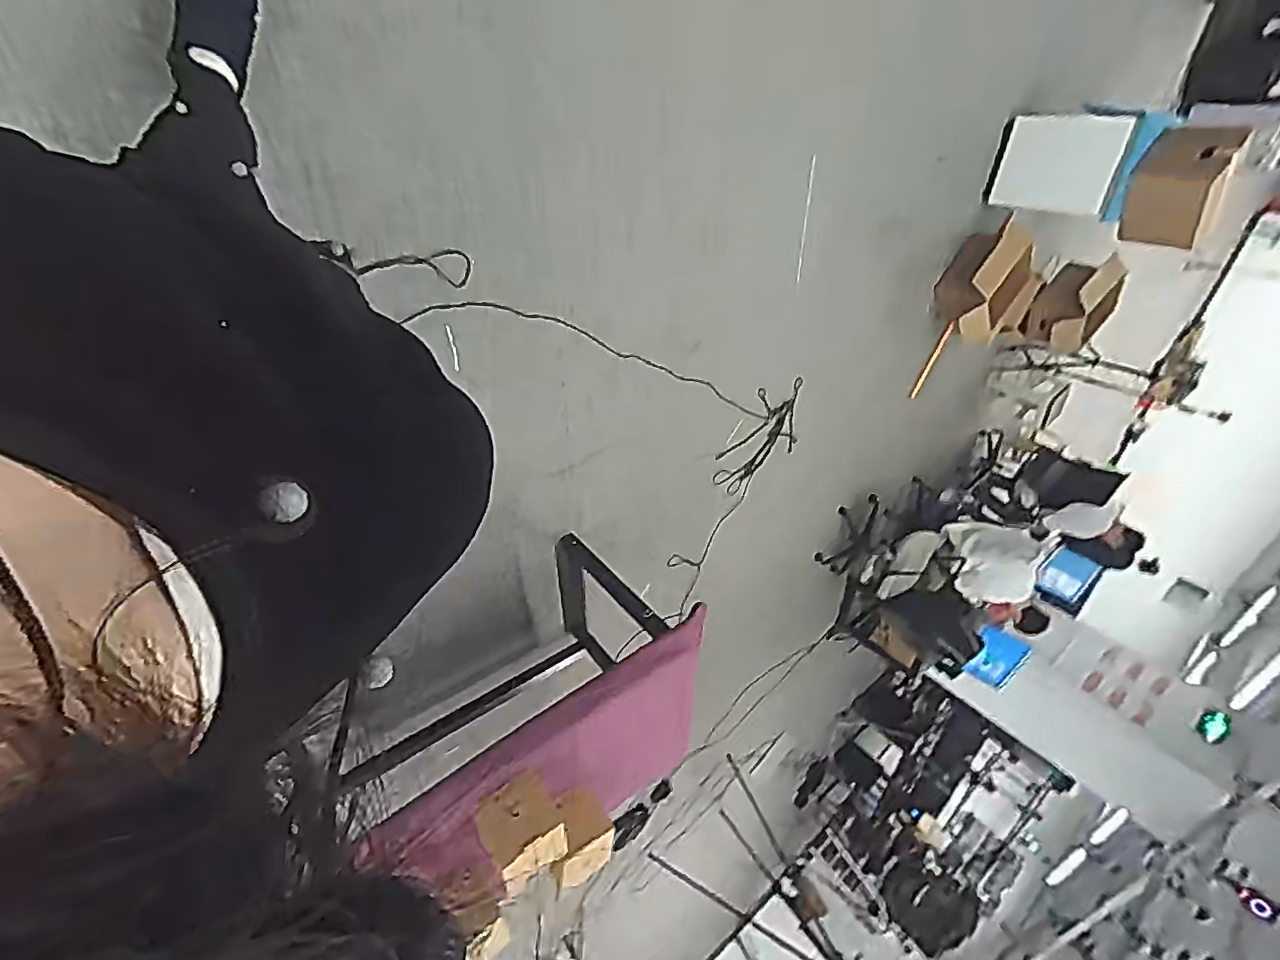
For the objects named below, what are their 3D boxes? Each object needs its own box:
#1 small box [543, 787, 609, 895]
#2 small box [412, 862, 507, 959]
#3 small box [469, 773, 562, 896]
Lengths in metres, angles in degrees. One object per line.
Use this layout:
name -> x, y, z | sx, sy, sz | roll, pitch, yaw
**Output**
small box -> -0.210, 1.028, 1.562 | 0.168, 0.176, 0.179 | -14, 125, -36
small box -> -0.466, 1.137, 1.393 | 0.168, 0.176, 0.179 | -25, 133, -29
small box -> -0.313, 0.879, 1.358 | 0.168, 0.176, 0.179 | -23, 132, -31
